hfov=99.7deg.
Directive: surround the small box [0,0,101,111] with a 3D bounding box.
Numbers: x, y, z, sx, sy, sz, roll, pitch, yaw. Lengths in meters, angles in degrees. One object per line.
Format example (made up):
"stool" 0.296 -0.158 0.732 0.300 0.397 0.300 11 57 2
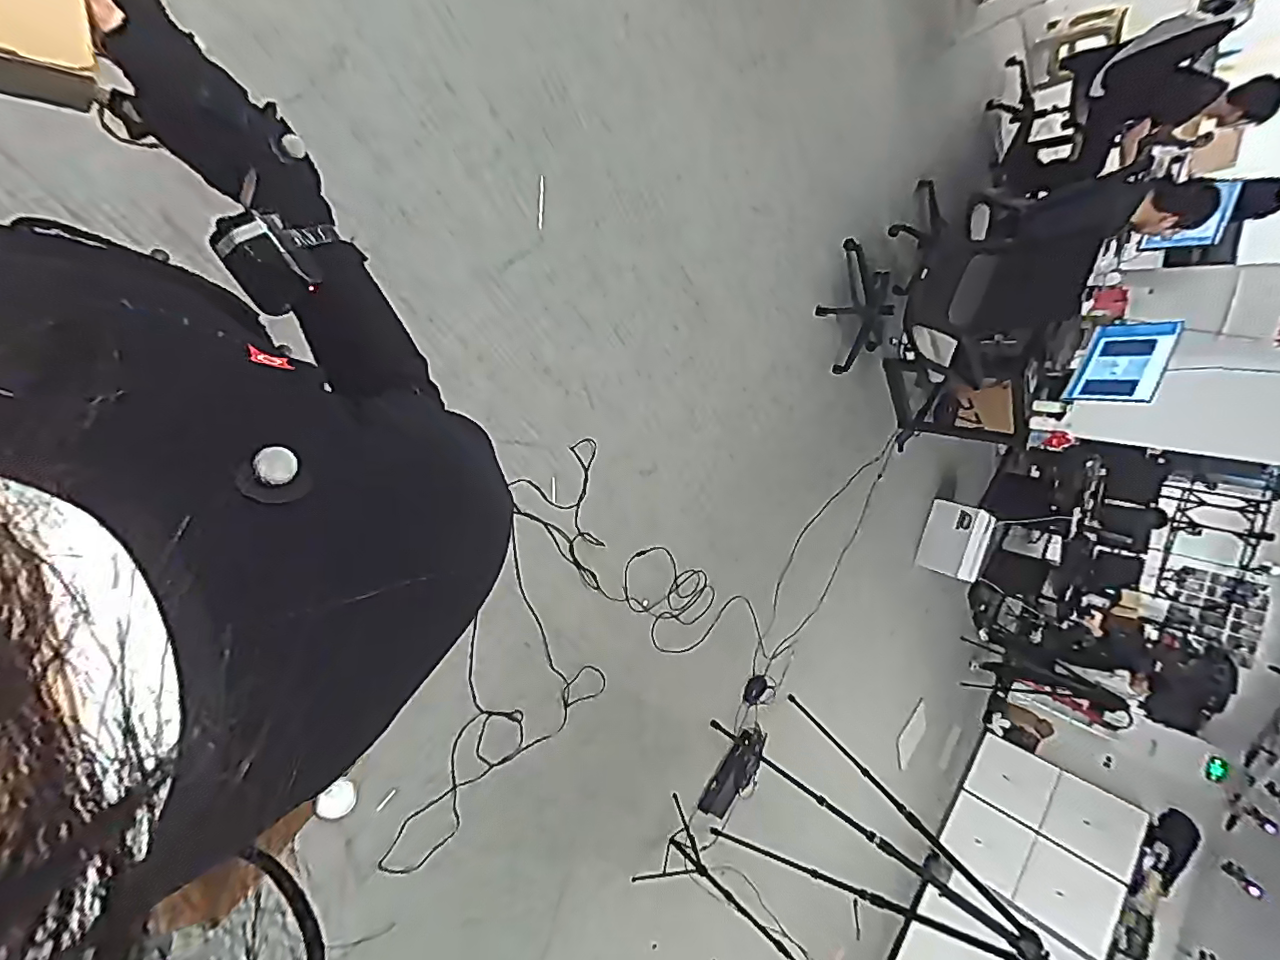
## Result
"small box" -0.414 -0.325 0.280 0.168 0.176 0.179 -11 116 -43
